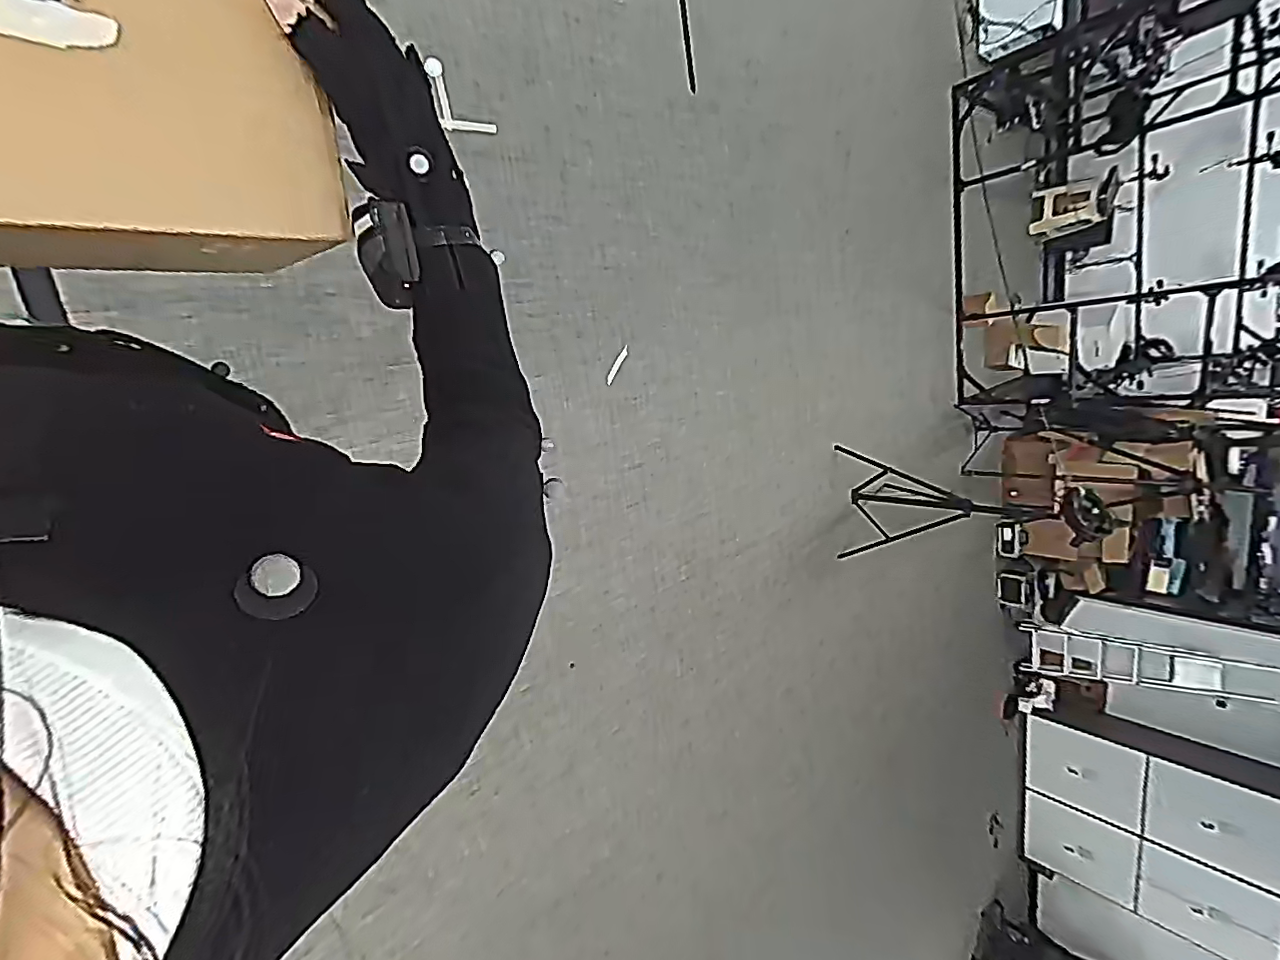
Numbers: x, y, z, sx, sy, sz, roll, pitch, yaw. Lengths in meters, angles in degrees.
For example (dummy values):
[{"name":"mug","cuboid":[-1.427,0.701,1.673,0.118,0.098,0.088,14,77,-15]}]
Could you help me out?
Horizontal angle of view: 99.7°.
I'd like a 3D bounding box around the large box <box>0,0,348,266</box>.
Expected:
[{"name":"large box","cuboid":[-0.476,-0.314,0.347,0.408,0.320,0.320,-18,114,-40]}]
